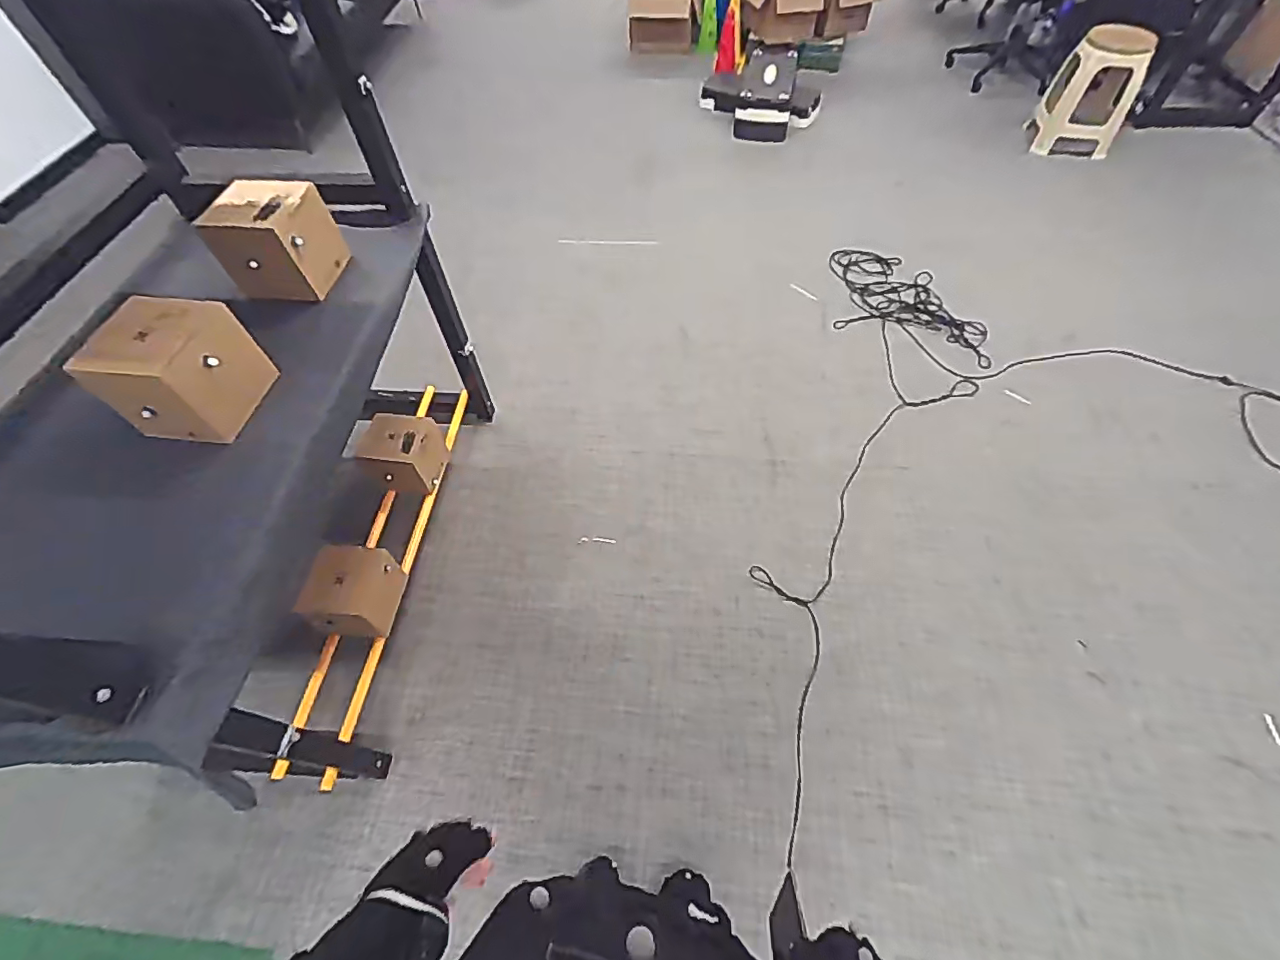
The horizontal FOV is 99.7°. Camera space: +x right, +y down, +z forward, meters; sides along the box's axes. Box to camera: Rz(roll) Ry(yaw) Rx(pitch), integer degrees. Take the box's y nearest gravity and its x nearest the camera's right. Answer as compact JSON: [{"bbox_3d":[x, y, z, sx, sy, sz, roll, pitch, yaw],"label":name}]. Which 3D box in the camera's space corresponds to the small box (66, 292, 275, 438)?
[{"bbox_3d":[-0.772,-0.191,0.917,0.168,0.176,0.179,6,57,5],"label":"small box"}]

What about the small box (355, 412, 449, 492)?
[{"bbox_3d":[-0.688,-0.078,1.590,0.179,0.176,0.168,6,56,5],"label":"small box"}]
